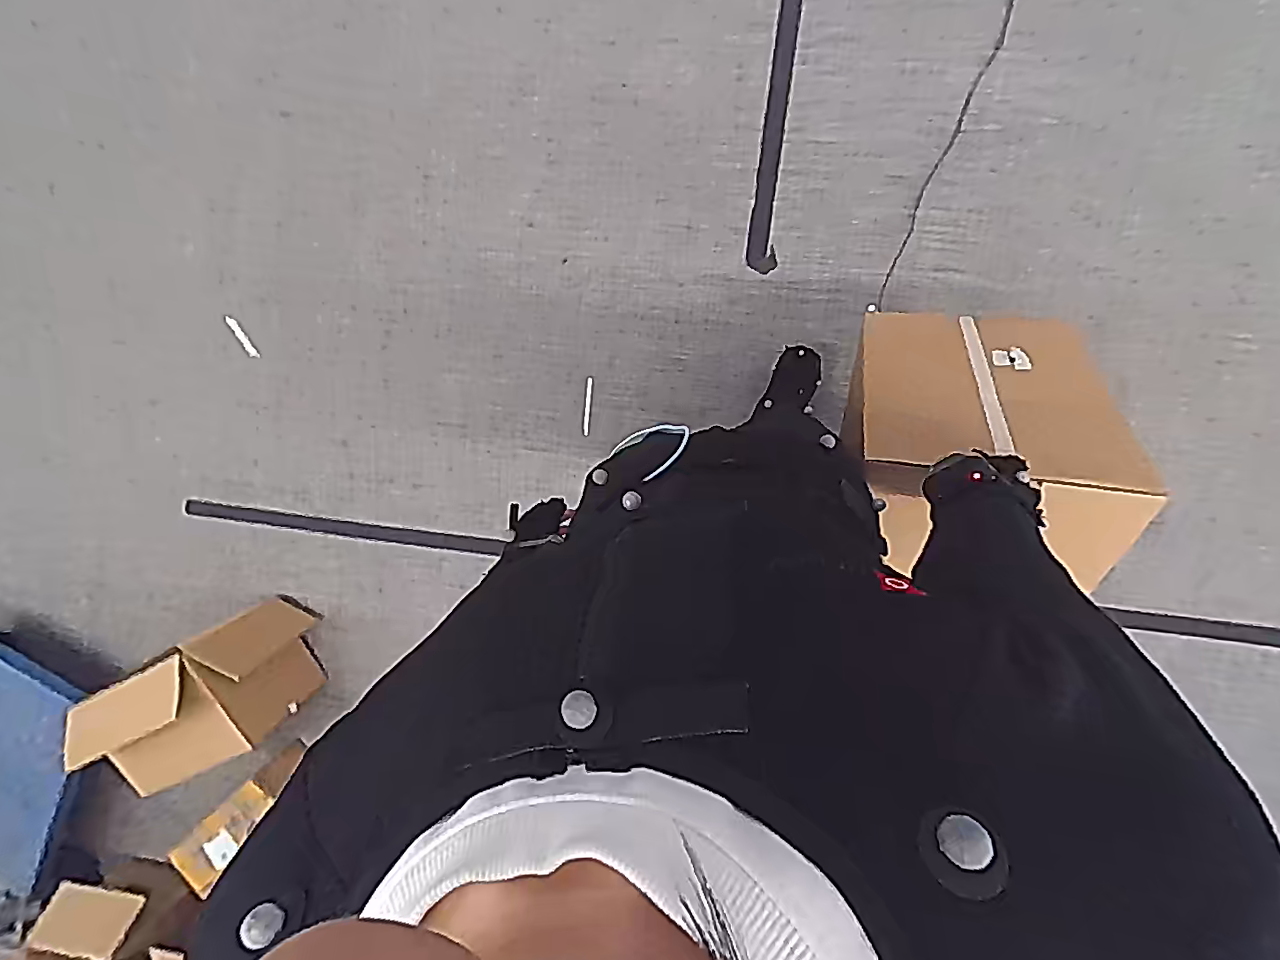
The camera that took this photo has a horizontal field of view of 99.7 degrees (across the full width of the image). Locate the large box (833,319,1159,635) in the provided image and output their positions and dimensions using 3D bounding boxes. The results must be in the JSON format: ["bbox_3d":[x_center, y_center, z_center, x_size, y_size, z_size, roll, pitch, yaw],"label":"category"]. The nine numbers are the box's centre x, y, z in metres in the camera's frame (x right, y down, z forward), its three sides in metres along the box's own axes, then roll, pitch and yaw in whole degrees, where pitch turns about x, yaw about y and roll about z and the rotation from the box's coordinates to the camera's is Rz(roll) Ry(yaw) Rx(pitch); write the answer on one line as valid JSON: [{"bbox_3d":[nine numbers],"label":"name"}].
[{"bbox_3d":[0.496,-0.022,0.874,0.320,0.408,0.320,9,133,13],"label":"large box"}]
